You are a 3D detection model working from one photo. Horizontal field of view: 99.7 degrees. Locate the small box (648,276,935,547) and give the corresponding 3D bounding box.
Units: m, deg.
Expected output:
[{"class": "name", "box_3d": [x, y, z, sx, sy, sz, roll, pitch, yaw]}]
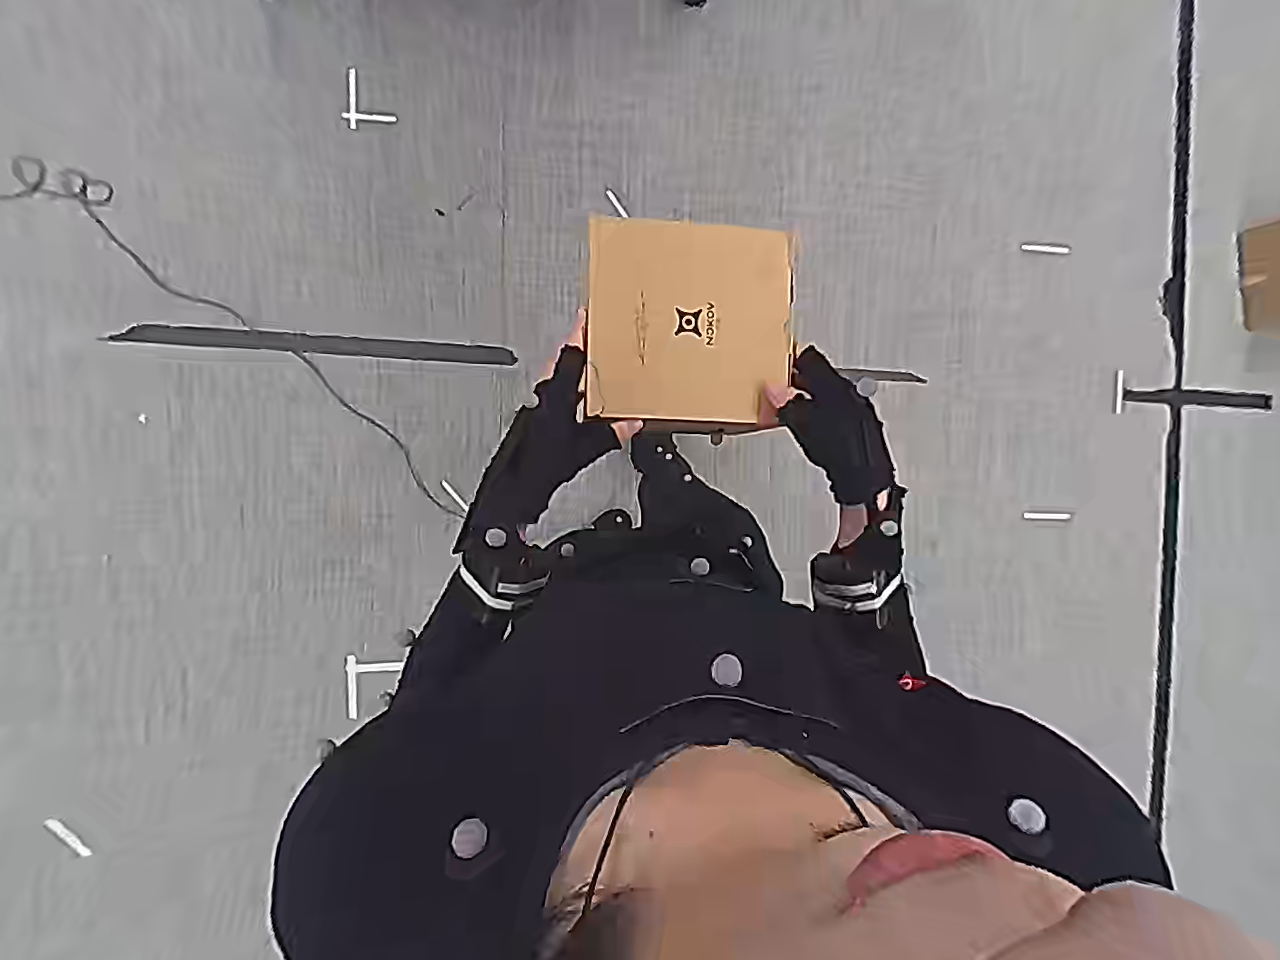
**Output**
[{"class": "small box", "box_3d": [0.148, -0.068, 0.505, 0.176, 0.168, 0.179, -32, 92, -49]}]
